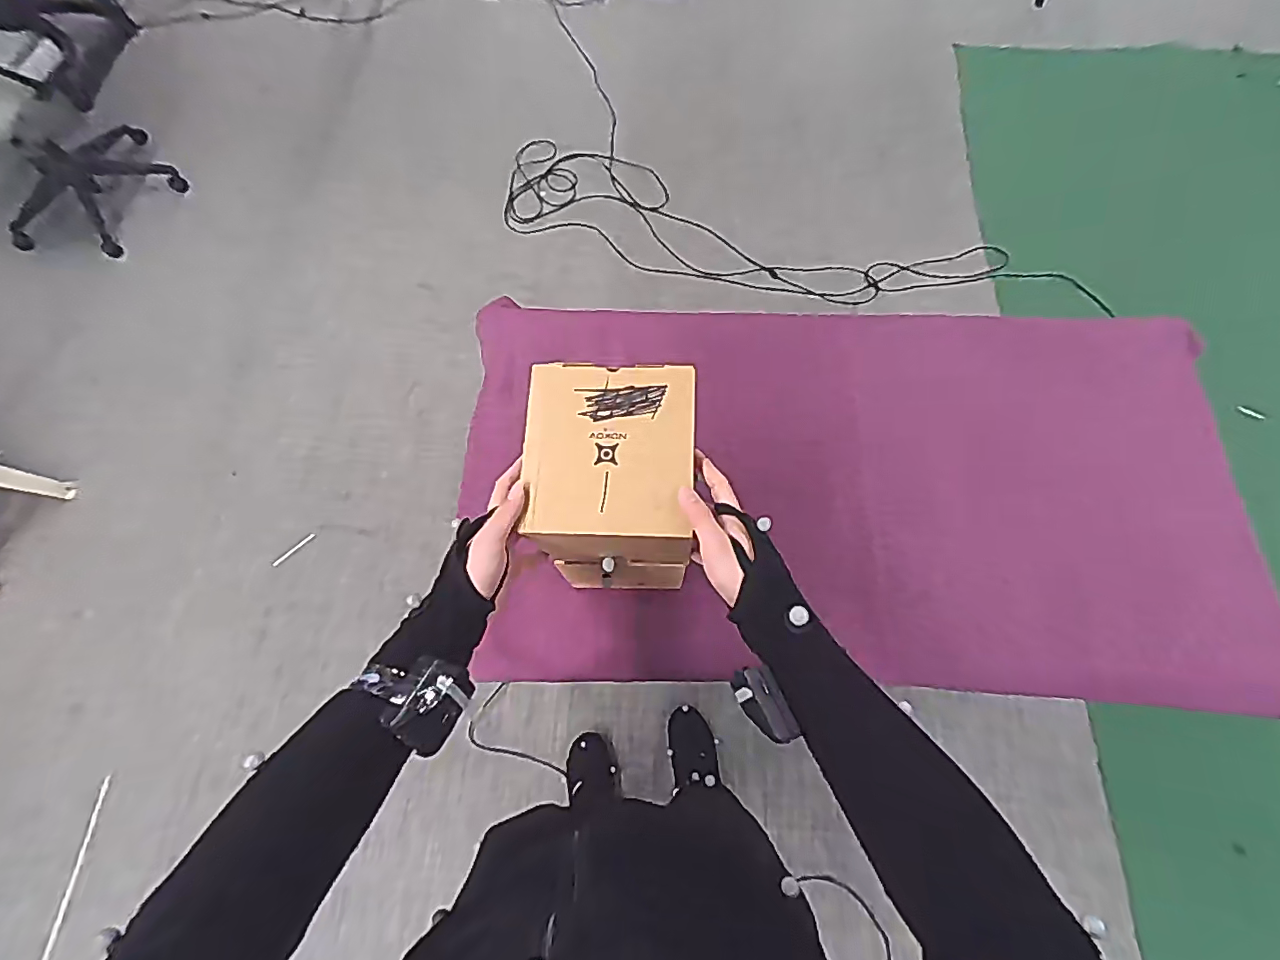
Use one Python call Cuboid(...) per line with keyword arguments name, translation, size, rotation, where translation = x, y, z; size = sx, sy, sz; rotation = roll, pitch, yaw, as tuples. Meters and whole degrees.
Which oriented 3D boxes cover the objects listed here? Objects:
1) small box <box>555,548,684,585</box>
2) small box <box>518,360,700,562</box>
Cuboid(name="small box", translation=(-0.019, 0.051, 0.773), size=(0.168, 0.176, 0.179), rotation=(0, 68, 2))
Cuboid(name="small box", translation=(-0.022, -0.012, 0.591), size=(0.168, 0.176, 0.179), rotation=(1, 74, 5))
